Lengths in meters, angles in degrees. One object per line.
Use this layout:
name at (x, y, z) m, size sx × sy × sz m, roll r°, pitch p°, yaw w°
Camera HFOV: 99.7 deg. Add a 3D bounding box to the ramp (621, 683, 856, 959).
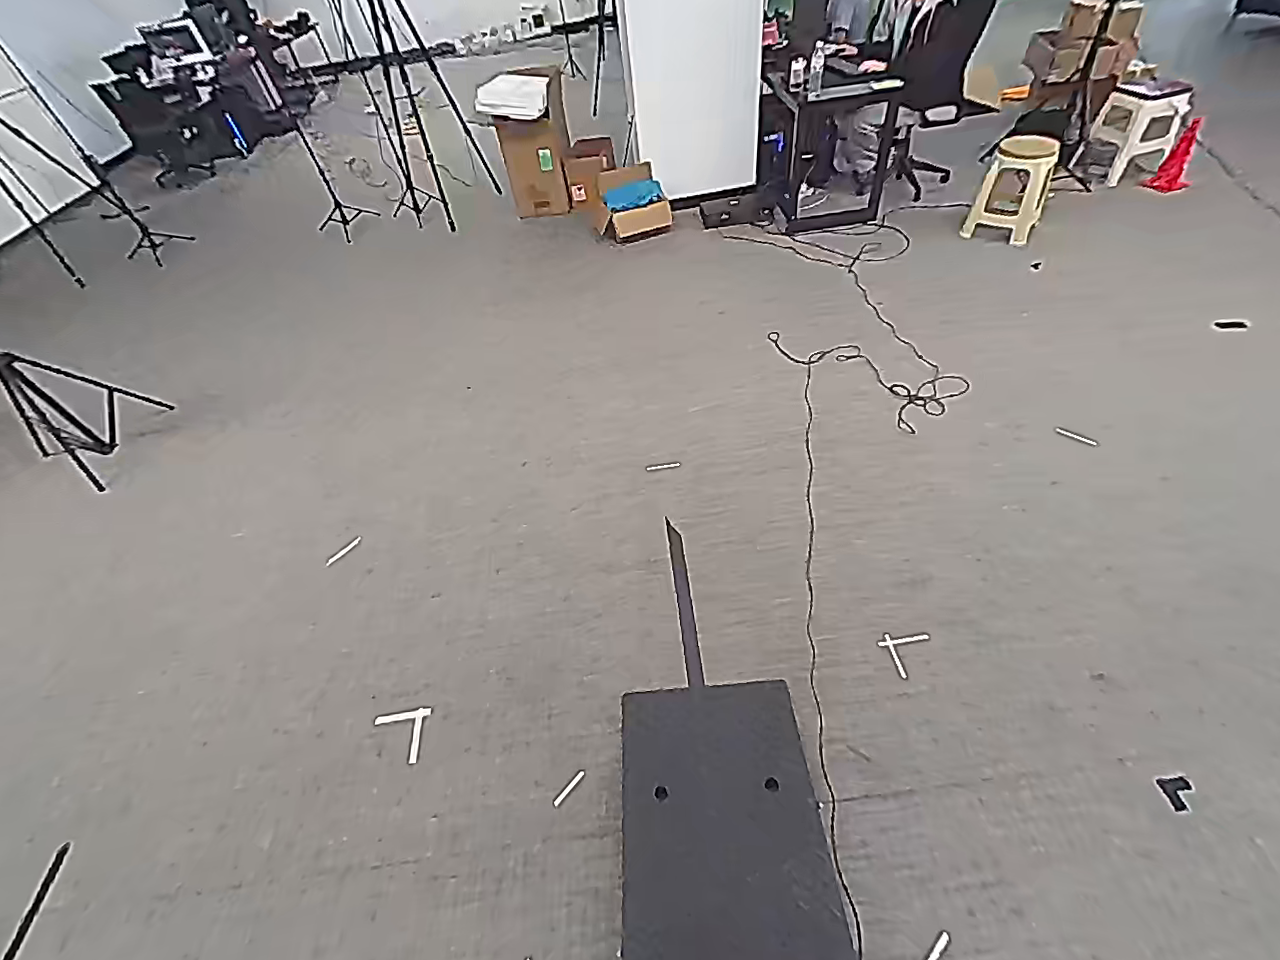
ramp at (0.199, 0.932, 1.222) m, size 0.509 × 0.206 × 0.991 m, roll -8°, pitch 47°, yaw 3°
